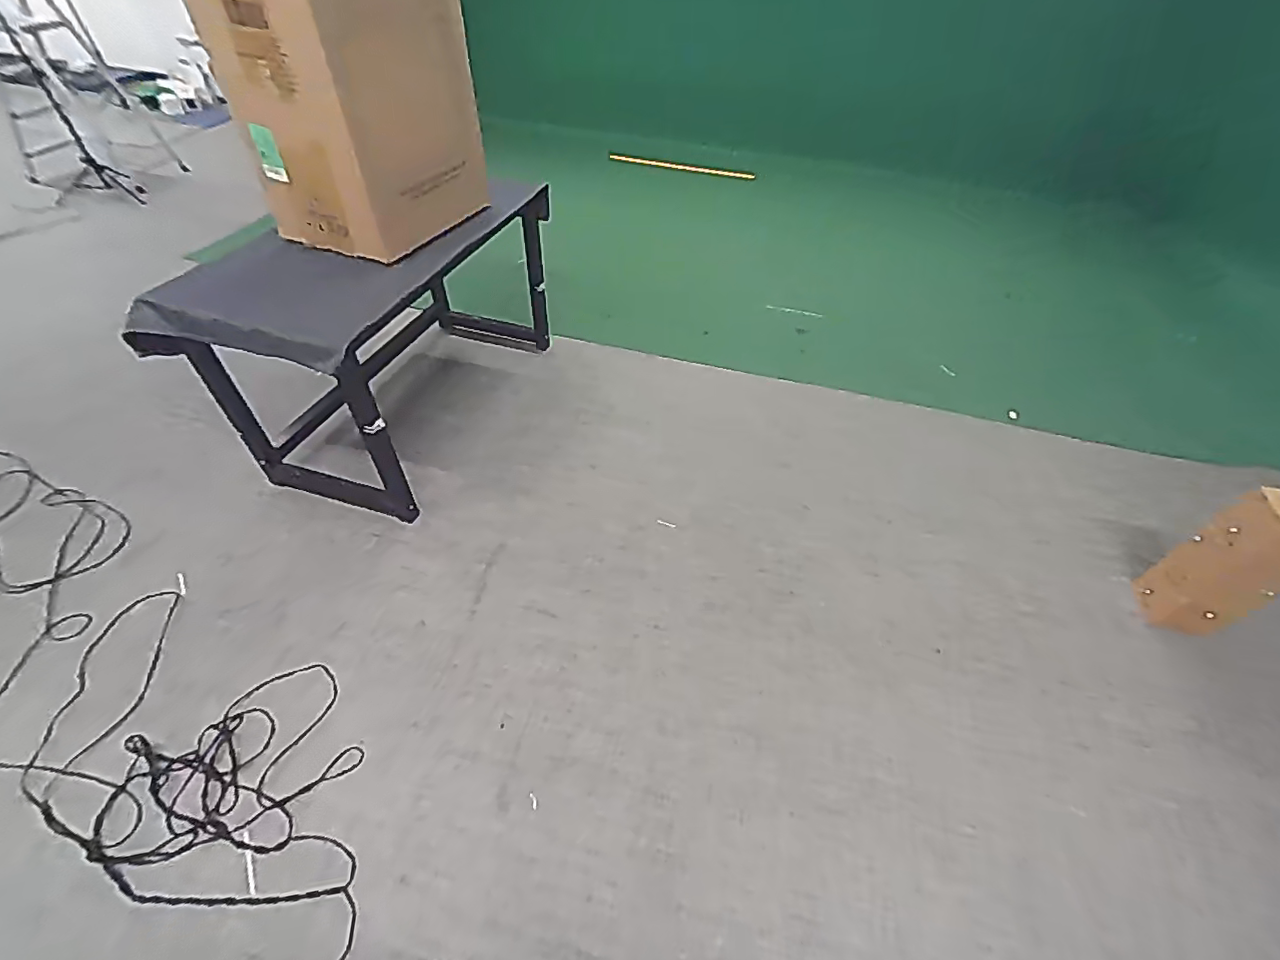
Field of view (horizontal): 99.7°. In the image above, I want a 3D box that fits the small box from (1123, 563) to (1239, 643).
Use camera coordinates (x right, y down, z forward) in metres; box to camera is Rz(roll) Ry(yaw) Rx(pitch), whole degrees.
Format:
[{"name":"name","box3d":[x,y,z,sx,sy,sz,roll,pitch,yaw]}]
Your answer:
[{"name":"small box","box3d":[1.723,0.399,1.733,0.179,0.176,0.168,13,47,8]}]
